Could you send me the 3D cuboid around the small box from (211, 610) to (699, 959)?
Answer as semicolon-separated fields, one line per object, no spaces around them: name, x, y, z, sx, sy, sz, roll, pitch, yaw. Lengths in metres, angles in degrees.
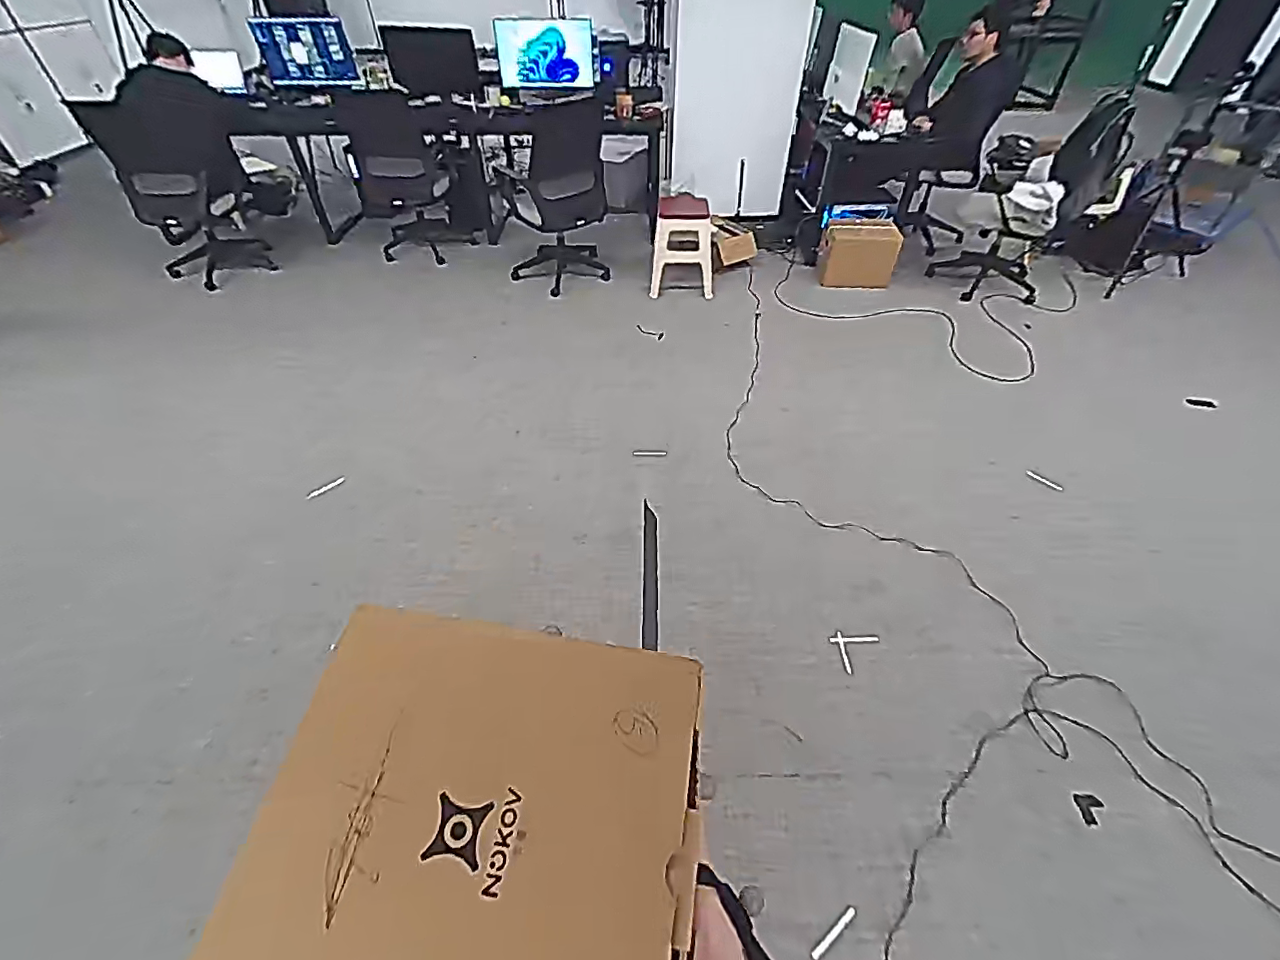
small box;-0.069;0.189;0.297;0.179;0.176;0.168;7;58;6
